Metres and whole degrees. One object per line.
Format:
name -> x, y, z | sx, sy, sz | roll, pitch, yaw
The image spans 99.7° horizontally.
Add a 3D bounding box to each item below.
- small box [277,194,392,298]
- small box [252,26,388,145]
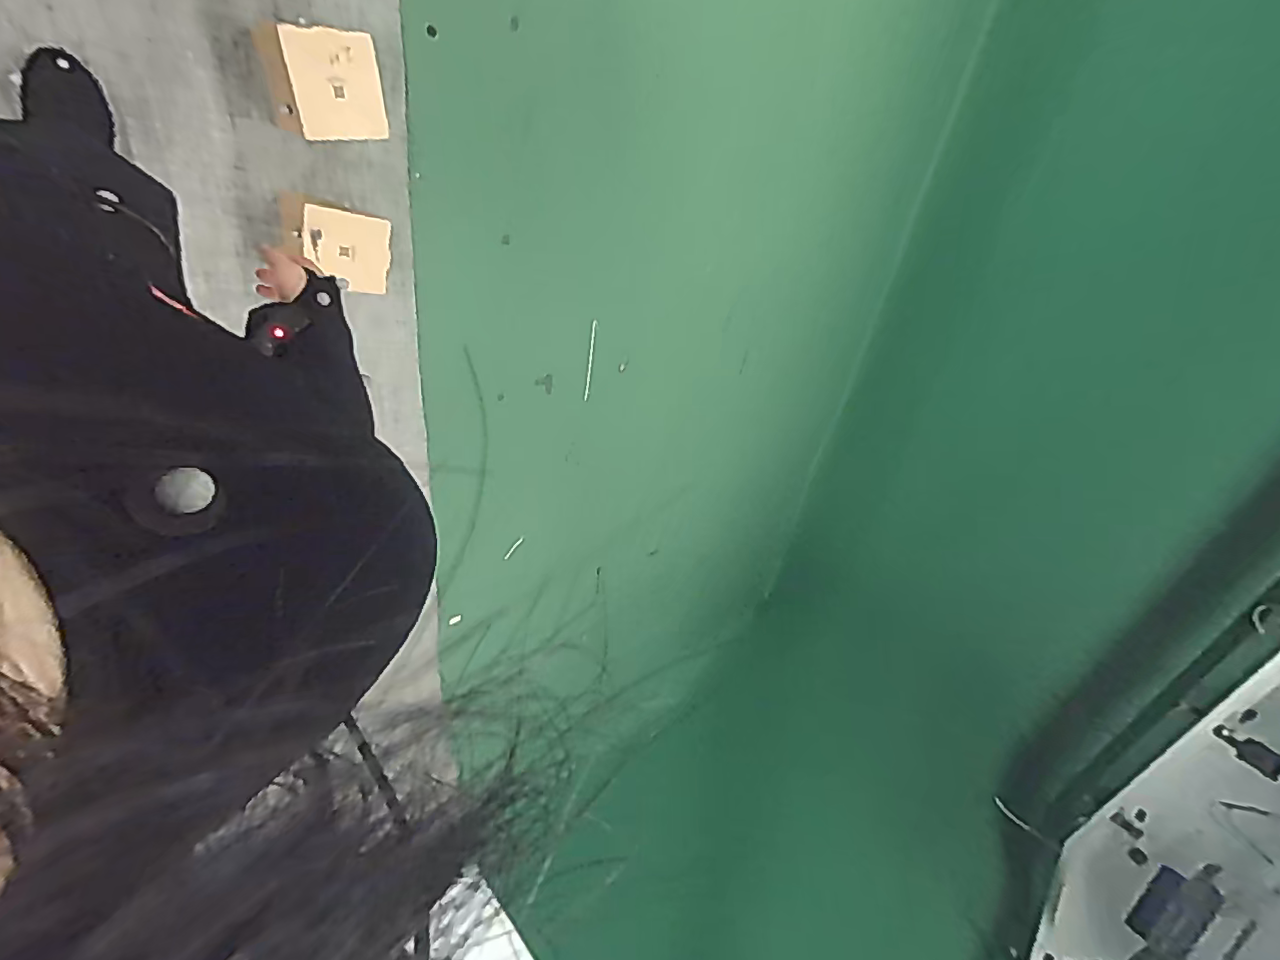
small box -> -0.688, -0.525, 1.215 | 0.179, 0.176, 0.168 | -10, 126, -47
small box -> -0.630, -0.779, 1.073 | 0.168, 0.176, 0.179 | -28, 137, -36
